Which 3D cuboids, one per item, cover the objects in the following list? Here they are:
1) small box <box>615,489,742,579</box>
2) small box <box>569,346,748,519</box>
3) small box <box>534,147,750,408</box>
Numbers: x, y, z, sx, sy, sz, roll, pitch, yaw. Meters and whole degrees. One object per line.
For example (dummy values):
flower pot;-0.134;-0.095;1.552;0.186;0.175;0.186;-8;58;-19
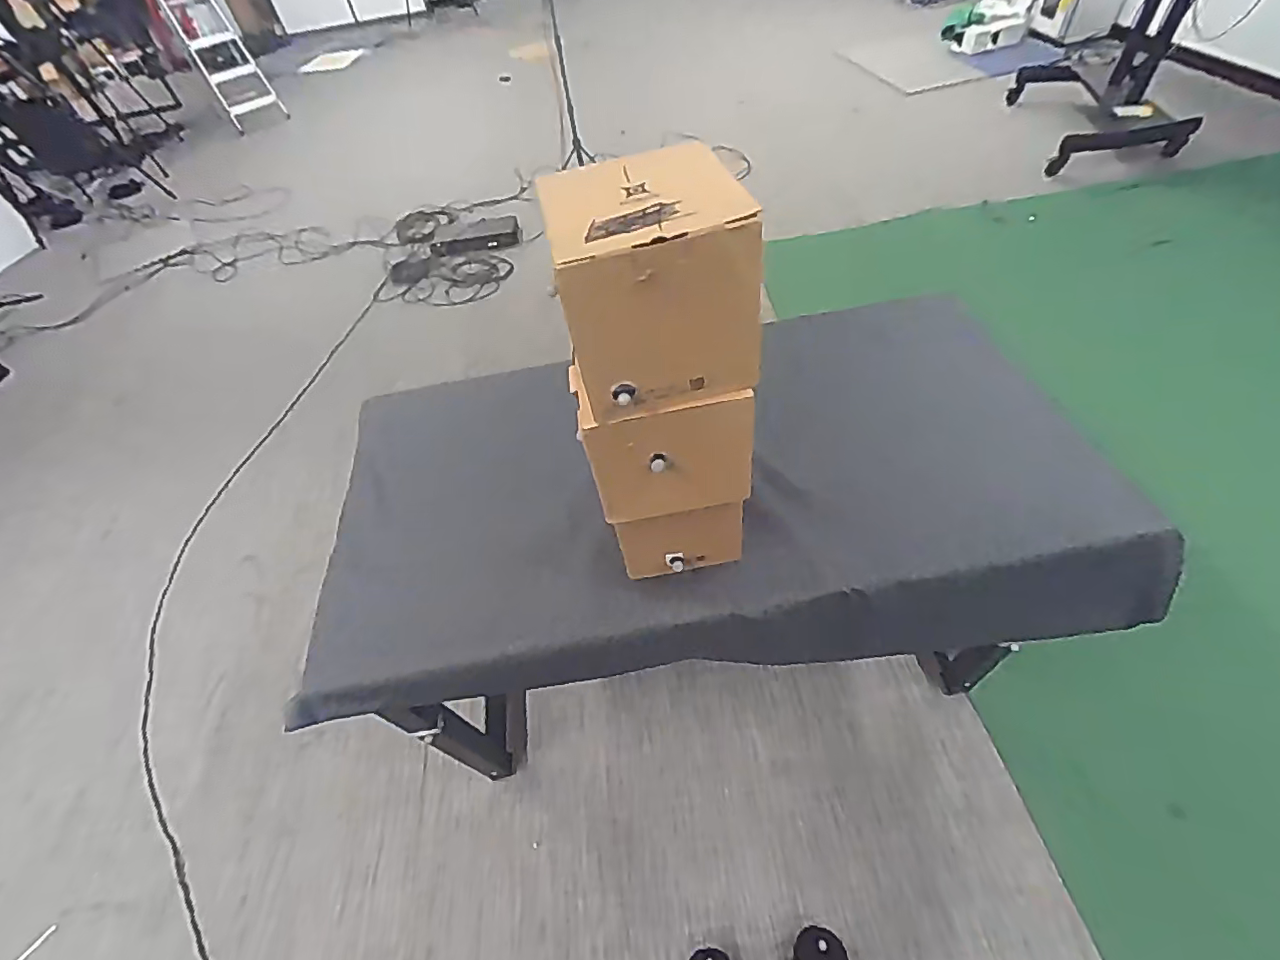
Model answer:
small box;0.043;0.016;0.781;0.168;0.176;0.179;-13;51;0
small box;0.024;-0.074;0.649;0.179;0.176;0.168;-12;48;-1
small box;0.004;-0.189;0.528;0.168;0.176;0.179;-14;49;-2
